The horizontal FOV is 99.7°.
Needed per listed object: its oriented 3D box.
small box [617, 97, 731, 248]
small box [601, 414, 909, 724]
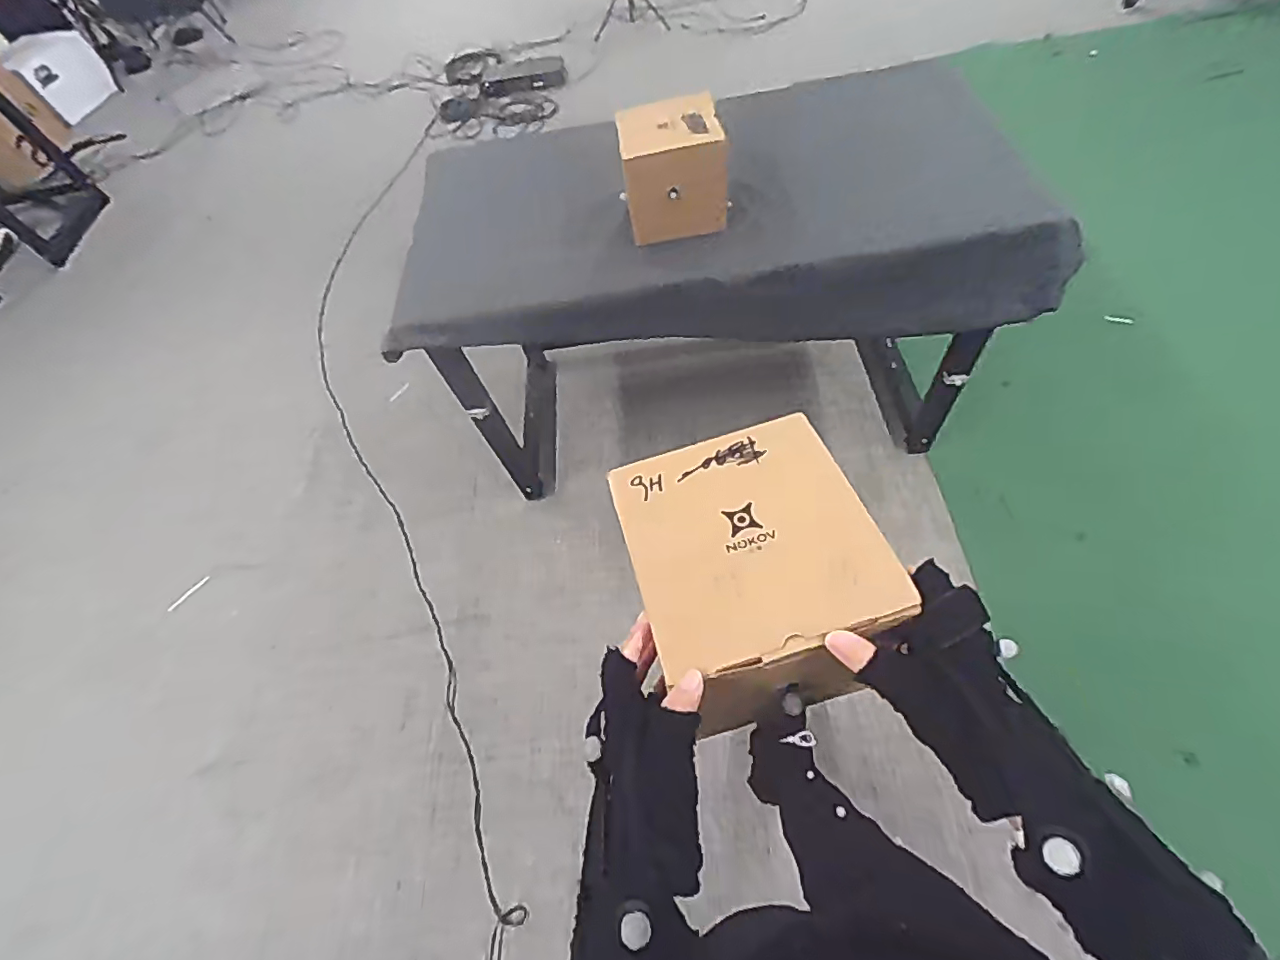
[{"bbox_3d":[0.062,-0.559,0.994,0.179,0.176,0.168,-10,58,2],"label":"small box"},{"bbox_3d":[0.080,0.082,0.440,0.168,0.176,0.179,-17,54,-2],"label":"small box"}]
